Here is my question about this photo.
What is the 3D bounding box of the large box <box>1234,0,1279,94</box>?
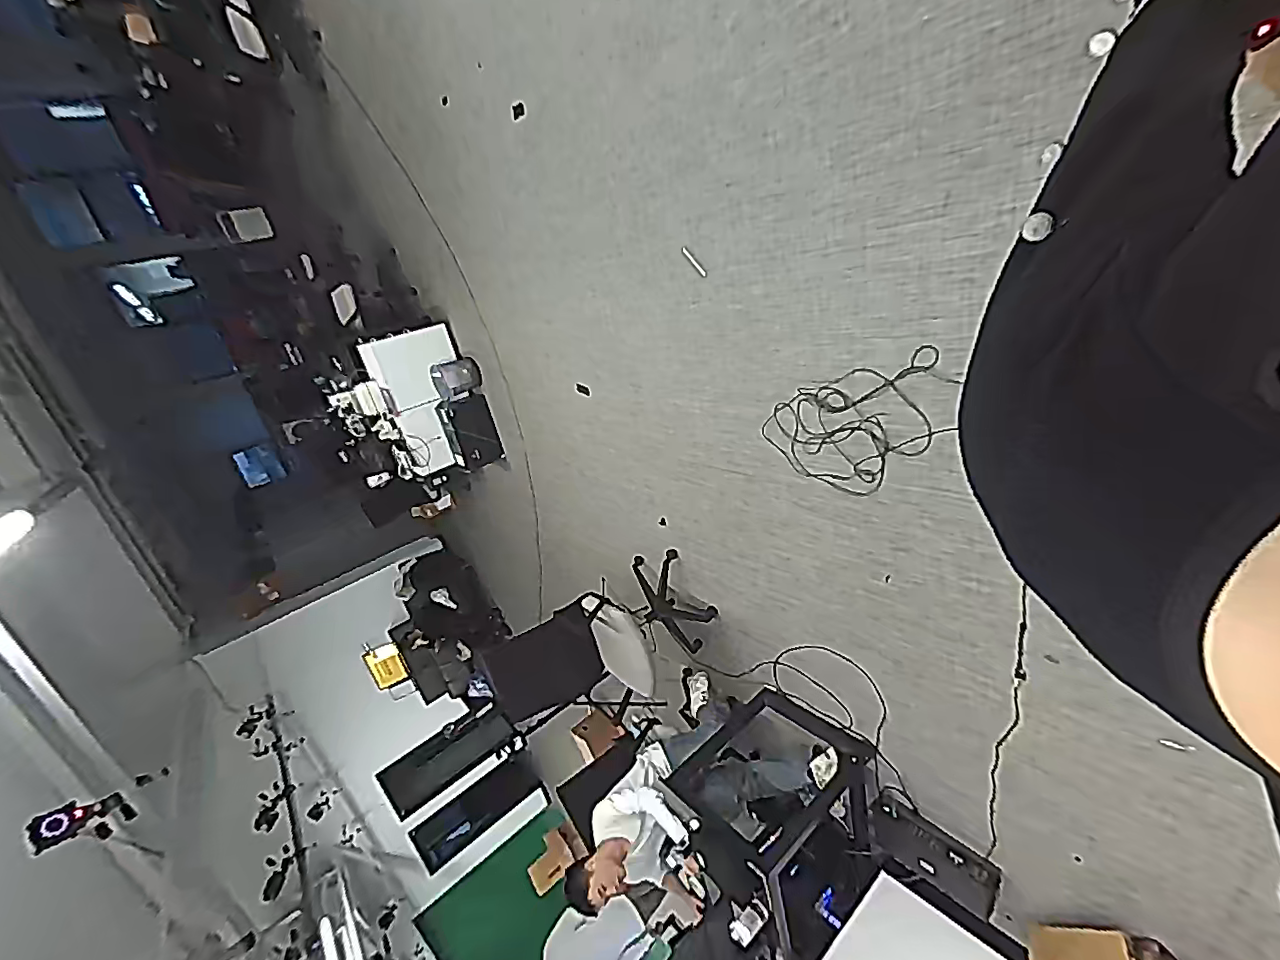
[{"bbox_3d":[0.697,-0.498,0.324,0.408,0.320,0.320,17,119,50],"label":"large box"}]
